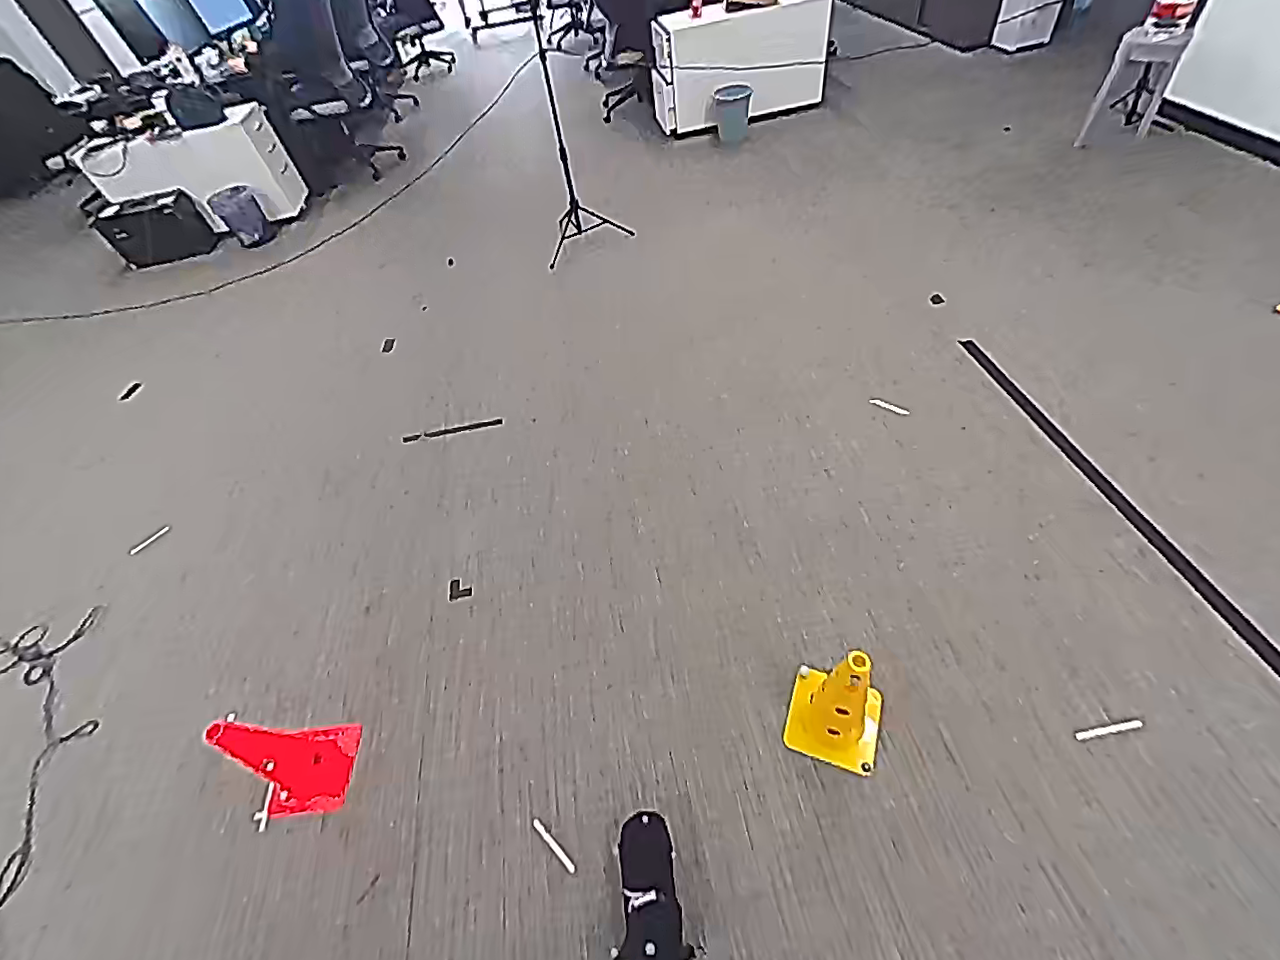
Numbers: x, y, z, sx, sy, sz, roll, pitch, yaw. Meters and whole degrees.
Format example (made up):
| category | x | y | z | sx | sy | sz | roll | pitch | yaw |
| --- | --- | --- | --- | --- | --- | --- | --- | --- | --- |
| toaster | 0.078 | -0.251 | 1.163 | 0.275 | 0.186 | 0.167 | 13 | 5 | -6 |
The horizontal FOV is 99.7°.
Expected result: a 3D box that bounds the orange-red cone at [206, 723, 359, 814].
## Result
| category | x | y | z | sx | sy | sz | roll | pitch | yaw |
| --- | --- | --- | --- | --- | --- | --- | --- | --- | --- |
| orange-red cone | -0.847 | 0.625 | 1.241 | 0.199 | 0.360 | 0.198 | -6 | 51 | 4 |
